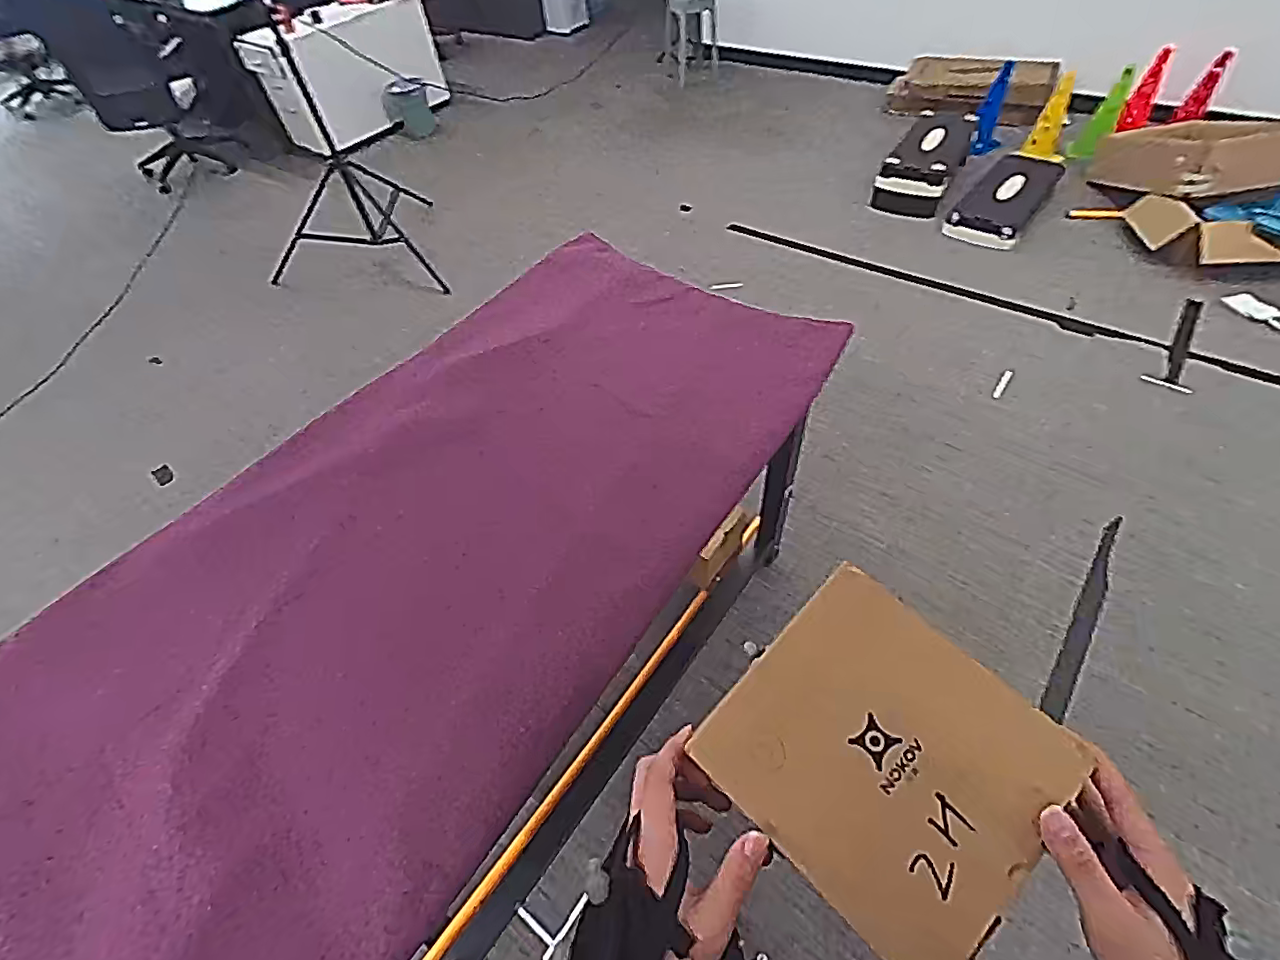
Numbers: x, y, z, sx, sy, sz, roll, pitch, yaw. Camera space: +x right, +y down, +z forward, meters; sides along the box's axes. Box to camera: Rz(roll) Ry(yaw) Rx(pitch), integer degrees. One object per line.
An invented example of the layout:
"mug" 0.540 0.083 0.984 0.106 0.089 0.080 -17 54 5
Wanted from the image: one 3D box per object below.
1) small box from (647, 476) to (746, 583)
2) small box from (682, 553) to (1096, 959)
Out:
"small box" 0.139 0.129 1.324 0.179 0.176 0.168 30 62 26
"small box" 0.147 0.186 0.387 0.168 0.176 0.179 -44 69 -13
